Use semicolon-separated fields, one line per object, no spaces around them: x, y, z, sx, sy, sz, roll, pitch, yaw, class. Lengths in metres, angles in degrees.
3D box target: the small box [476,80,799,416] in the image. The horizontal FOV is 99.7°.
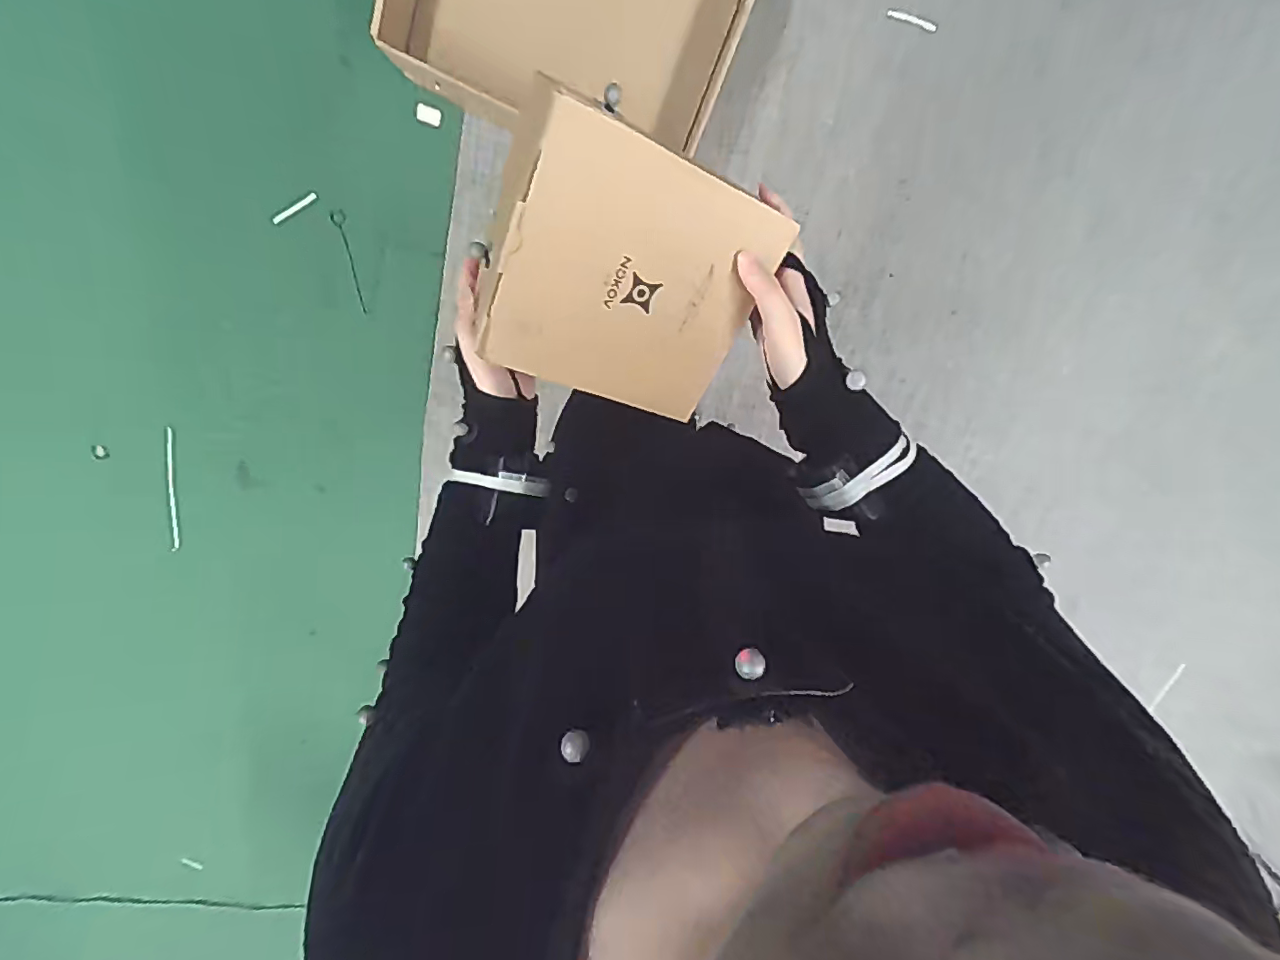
-0.019;-0.181;0.428;0.179;0.176;0.168;15;123;-26;small box
